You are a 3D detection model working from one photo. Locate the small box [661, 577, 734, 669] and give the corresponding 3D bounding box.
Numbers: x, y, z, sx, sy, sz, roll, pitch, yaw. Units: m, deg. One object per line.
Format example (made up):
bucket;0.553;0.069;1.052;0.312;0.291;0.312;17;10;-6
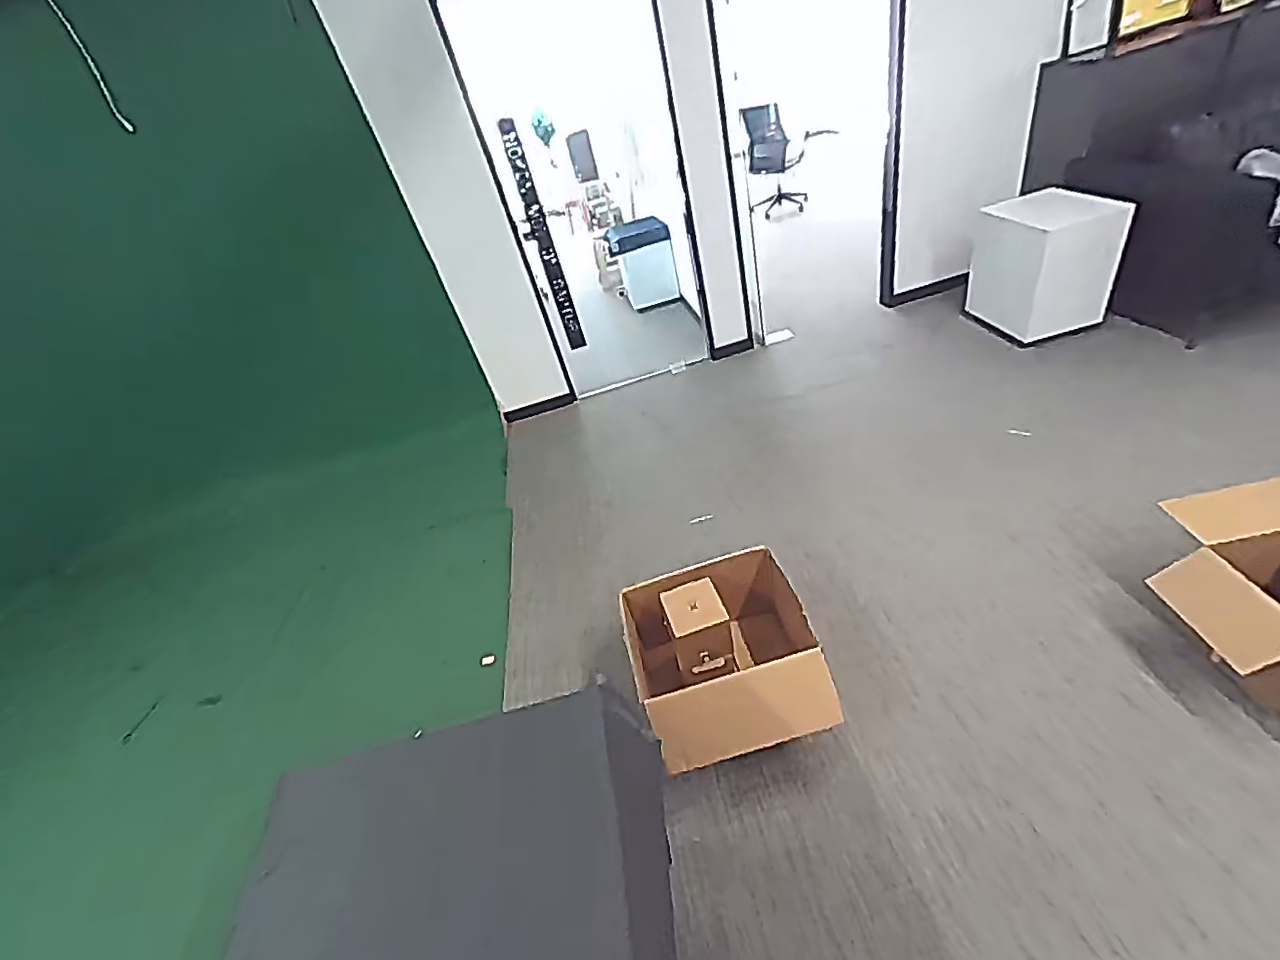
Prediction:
small box;0.174;0.430;1.626;0.168;0.176;0.179;-18;37;-6
